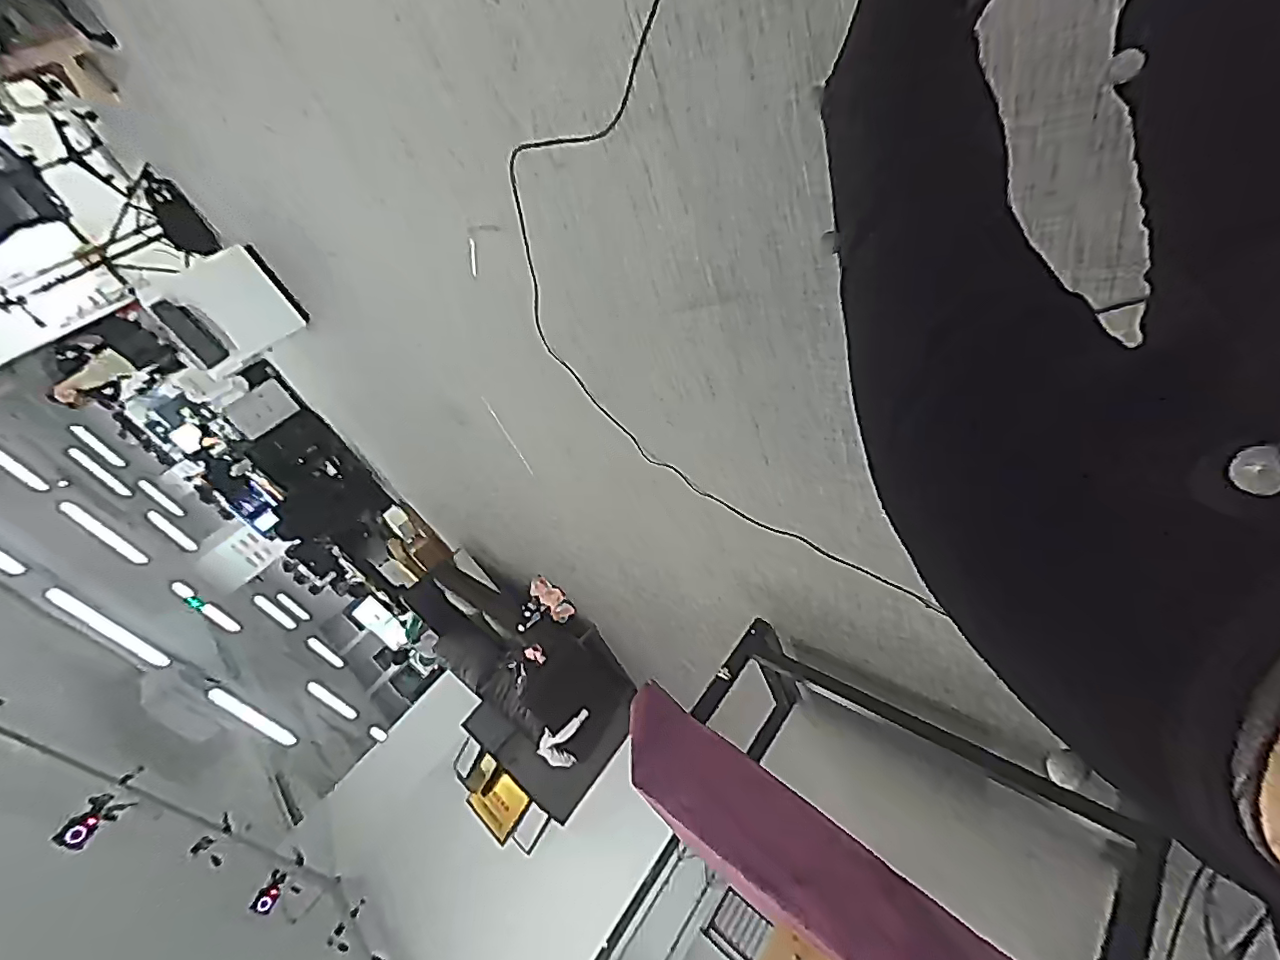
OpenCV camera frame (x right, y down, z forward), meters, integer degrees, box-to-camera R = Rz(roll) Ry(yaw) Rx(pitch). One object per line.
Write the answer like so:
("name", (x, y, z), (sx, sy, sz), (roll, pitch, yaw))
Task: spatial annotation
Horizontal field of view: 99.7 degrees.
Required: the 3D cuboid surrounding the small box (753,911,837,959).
("small box", (0.439, 1.352, 1.490), (0.168, 0.176, 0.179), (8, 136, 49))
